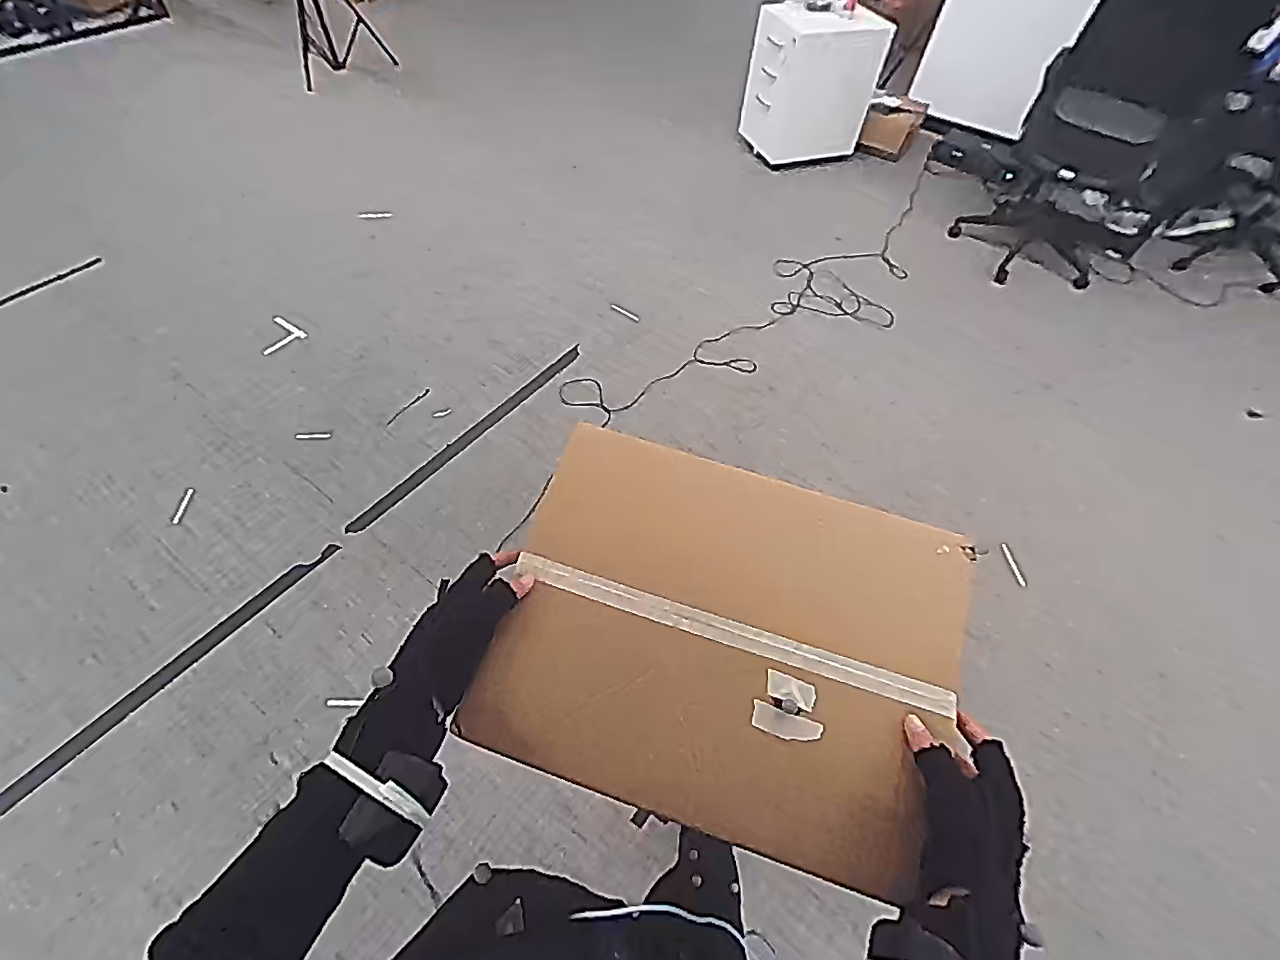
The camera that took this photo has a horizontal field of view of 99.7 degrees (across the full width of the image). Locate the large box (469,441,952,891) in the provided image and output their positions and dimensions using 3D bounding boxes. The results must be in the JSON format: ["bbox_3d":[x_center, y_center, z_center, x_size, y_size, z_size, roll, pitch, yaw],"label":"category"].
[{"bbox_3d":[0.077,0.198,0.647,0.408,0.320,0.320,17,71,7],"label":"large box"}]
